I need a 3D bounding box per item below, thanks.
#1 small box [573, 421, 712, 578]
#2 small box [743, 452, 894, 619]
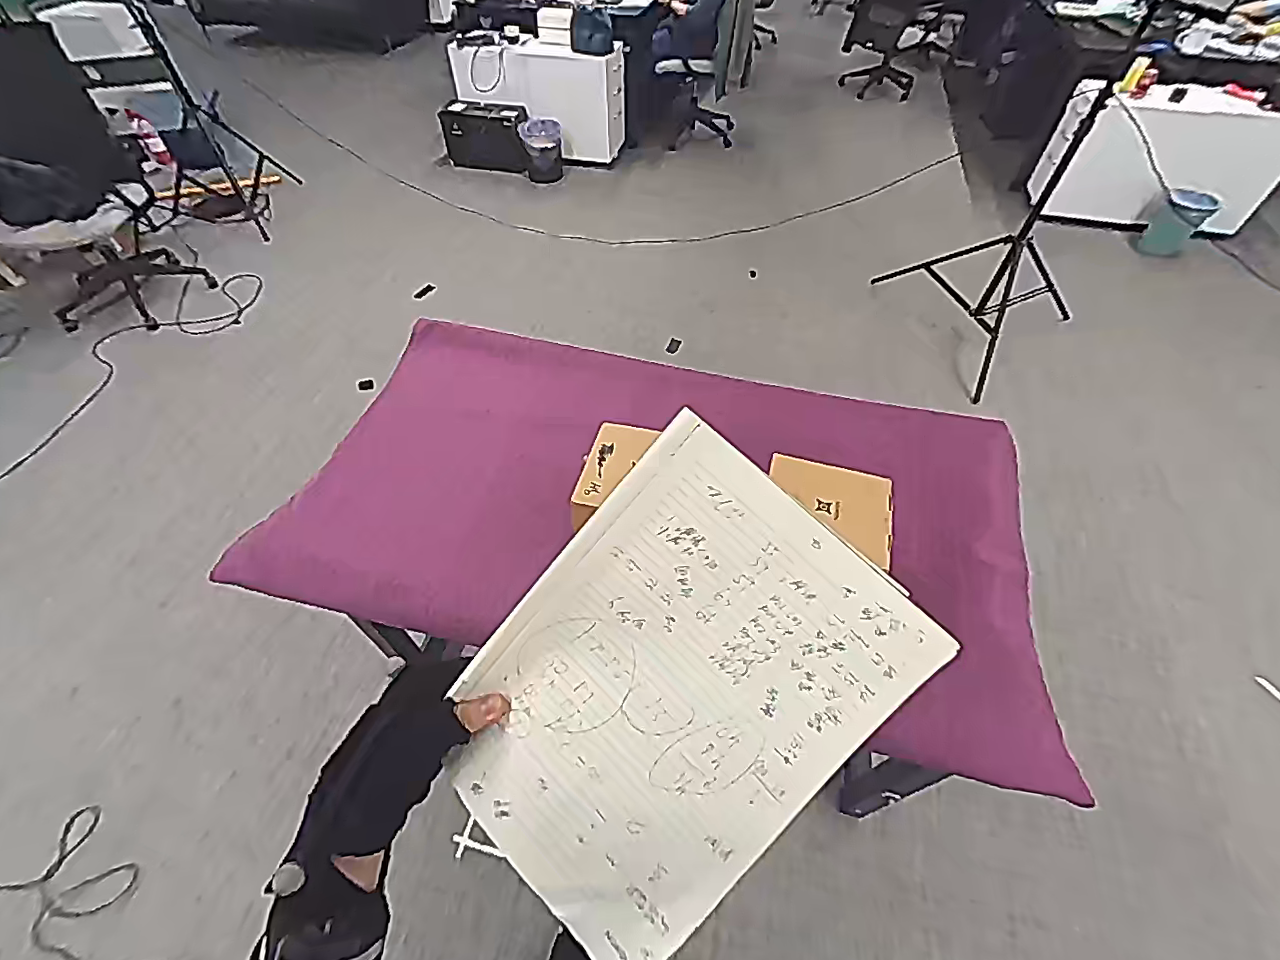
[{"bbox_3d":[0.007,0.035,0.858,0.179,0.176,0.168,12,51,8],"label":"small box"},{"bbox_3d":[0.264,0.087,0.816,0.179,0.176,0.168,12,49,12],"label":"small box"}]
